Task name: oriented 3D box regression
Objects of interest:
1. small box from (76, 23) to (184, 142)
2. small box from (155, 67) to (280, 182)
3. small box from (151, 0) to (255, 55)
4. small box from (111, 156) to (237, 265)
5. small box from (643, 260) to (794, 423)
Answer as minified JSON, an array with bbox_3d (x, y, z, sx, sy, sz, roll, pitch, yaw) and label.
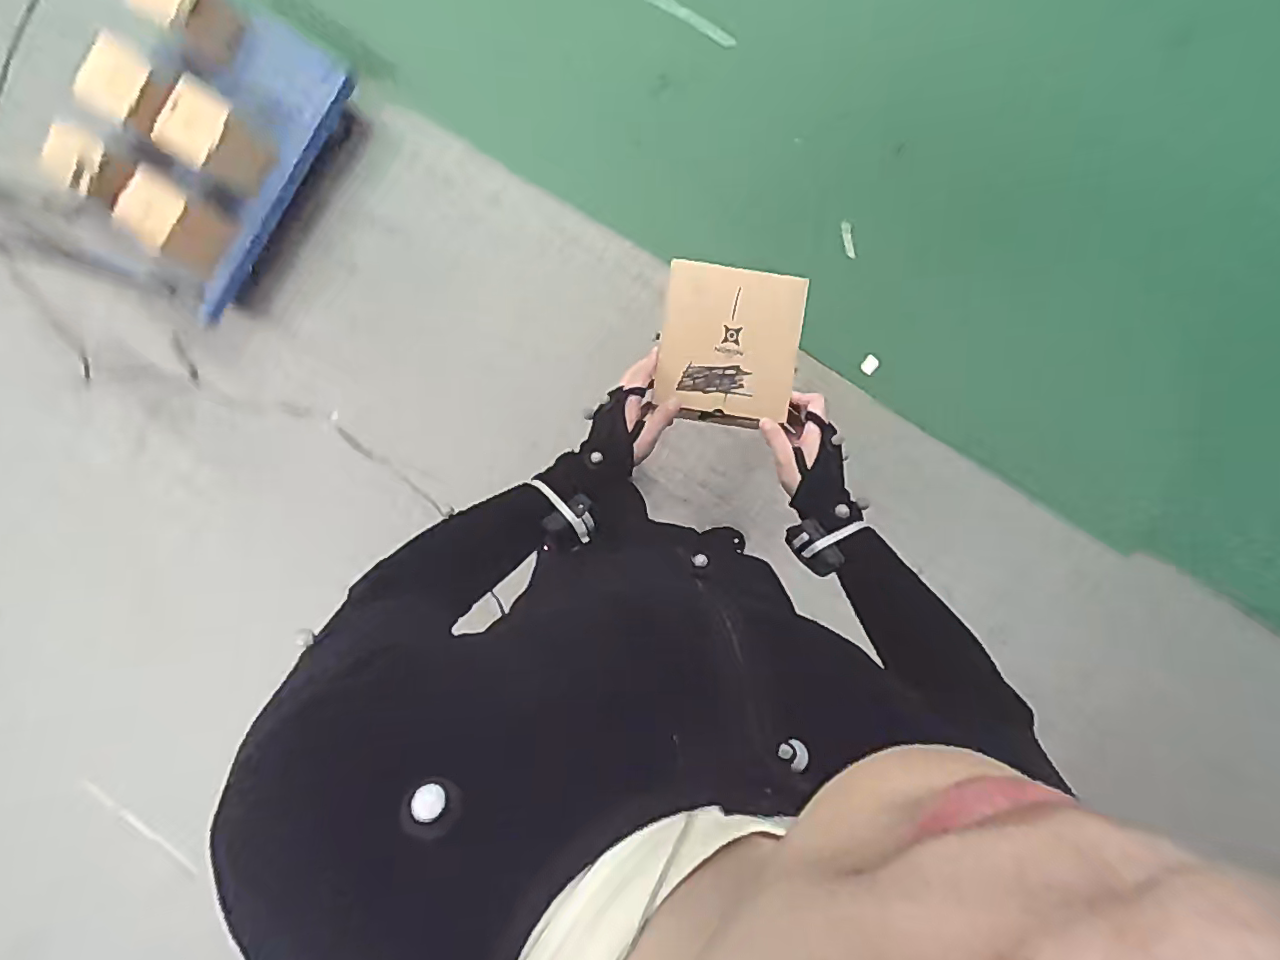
[{"bbox_3d":[-1.367,-1.087,1.496,0.179,0.176,0.168,35,94,2],"label":"small box"},{"bbox_3d":[-1.139,-0.954,1.474,0.179,0.176,0.168,36,93,3],"label":"small box"},{"bbox_3d":[-1.213,-1.320,1.472,0.179,0.176,0.168,34,95,3],"label":"small box"},{"bbox_3d":[-1.275,-0.732,1.494,0.168,0.176,0.179,38,93,3],"label":"small box"},{"bbox_3d":[0.095,-0.175,0.736,0.168,0.176,0.179,7,93,-2],"label":"small box"}]
